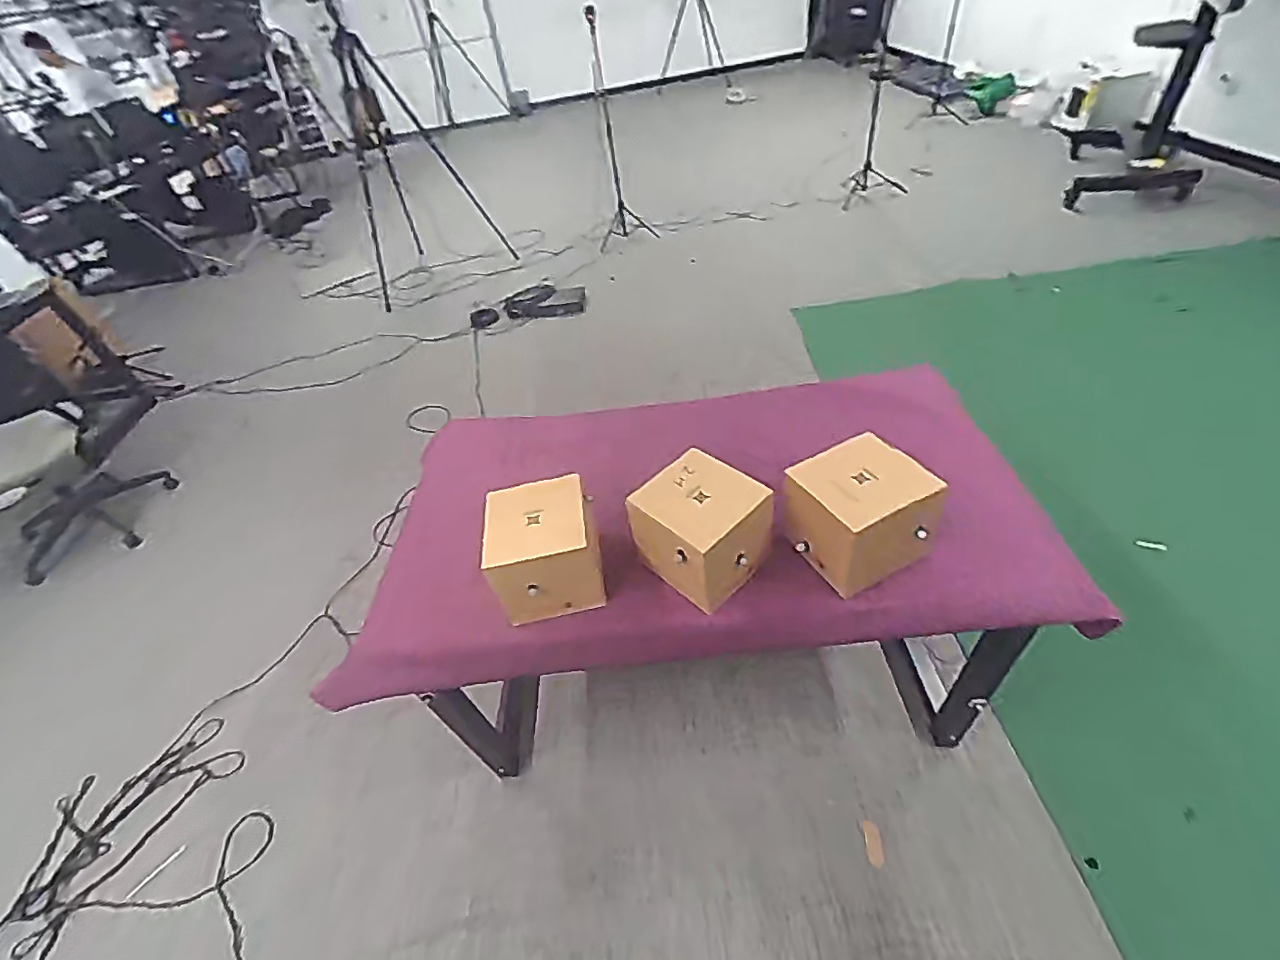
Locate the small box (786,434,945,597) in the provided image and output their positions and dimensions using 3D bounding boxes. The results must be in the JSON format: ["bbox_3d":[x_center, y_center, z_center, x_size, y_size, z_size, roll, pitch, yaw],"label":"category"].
[{"bbox_3d":[0.358,0.058,0.896,0.179,0.176,0.168,-24,43,-12],"label":"small box"}]

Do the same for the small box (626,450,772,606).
[{"bbox_3d":[0.104,0.086,0.918,0.168,0.176,0.179,-36,49,-25],"label":"small box"}]

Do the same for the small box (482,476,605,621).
[{"bbox_3d":[-0.162,0.124,0.936,0.168,0.176,0.179,-12,42,-1],"label":"small box"}]
